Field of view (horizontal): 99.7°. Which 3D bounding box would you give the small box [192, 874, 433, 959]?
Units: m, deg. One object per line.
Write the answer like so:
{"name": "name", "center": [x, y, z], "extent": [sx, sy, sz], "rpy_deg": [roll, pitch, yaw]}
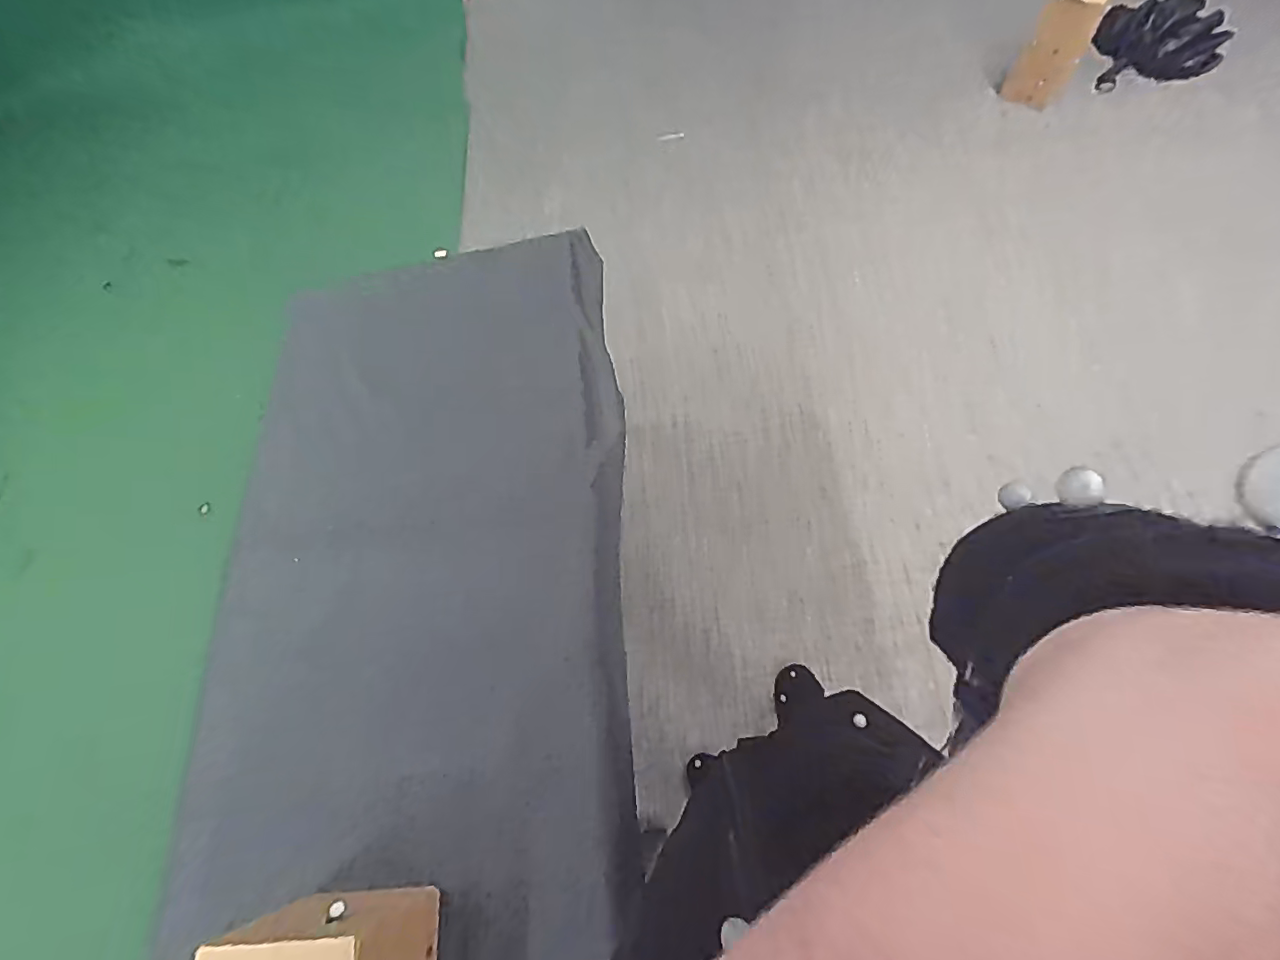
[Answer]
{"name": "small box", "center": [-0.342, 0.545, 0.580], "extent": [0.179, 0.176, 0.168], "rpy_deg": [-8, 66, 5]}
